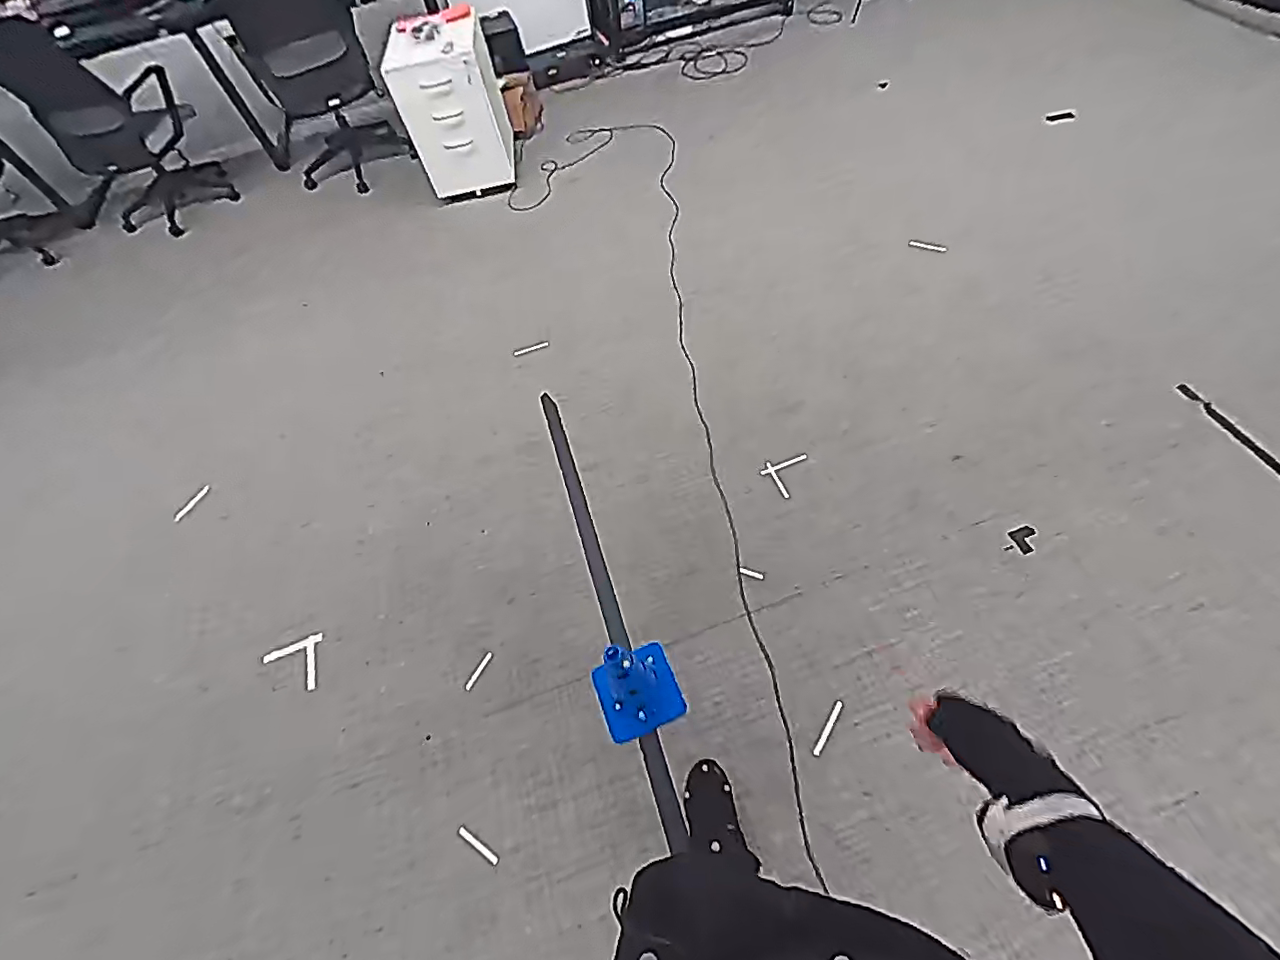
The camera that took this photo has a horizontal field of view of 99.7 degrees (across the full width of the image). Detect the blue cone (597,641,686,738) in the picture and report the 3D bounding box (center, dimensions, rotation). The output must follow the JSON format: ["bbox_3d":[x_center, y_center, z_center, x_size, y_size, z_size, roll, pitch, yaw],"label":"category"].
[{"bbox_3d":[-0.027,0.439,1.221,0.192,0.380,0.193,-24,56,-6],"label":"blue cone"}]
